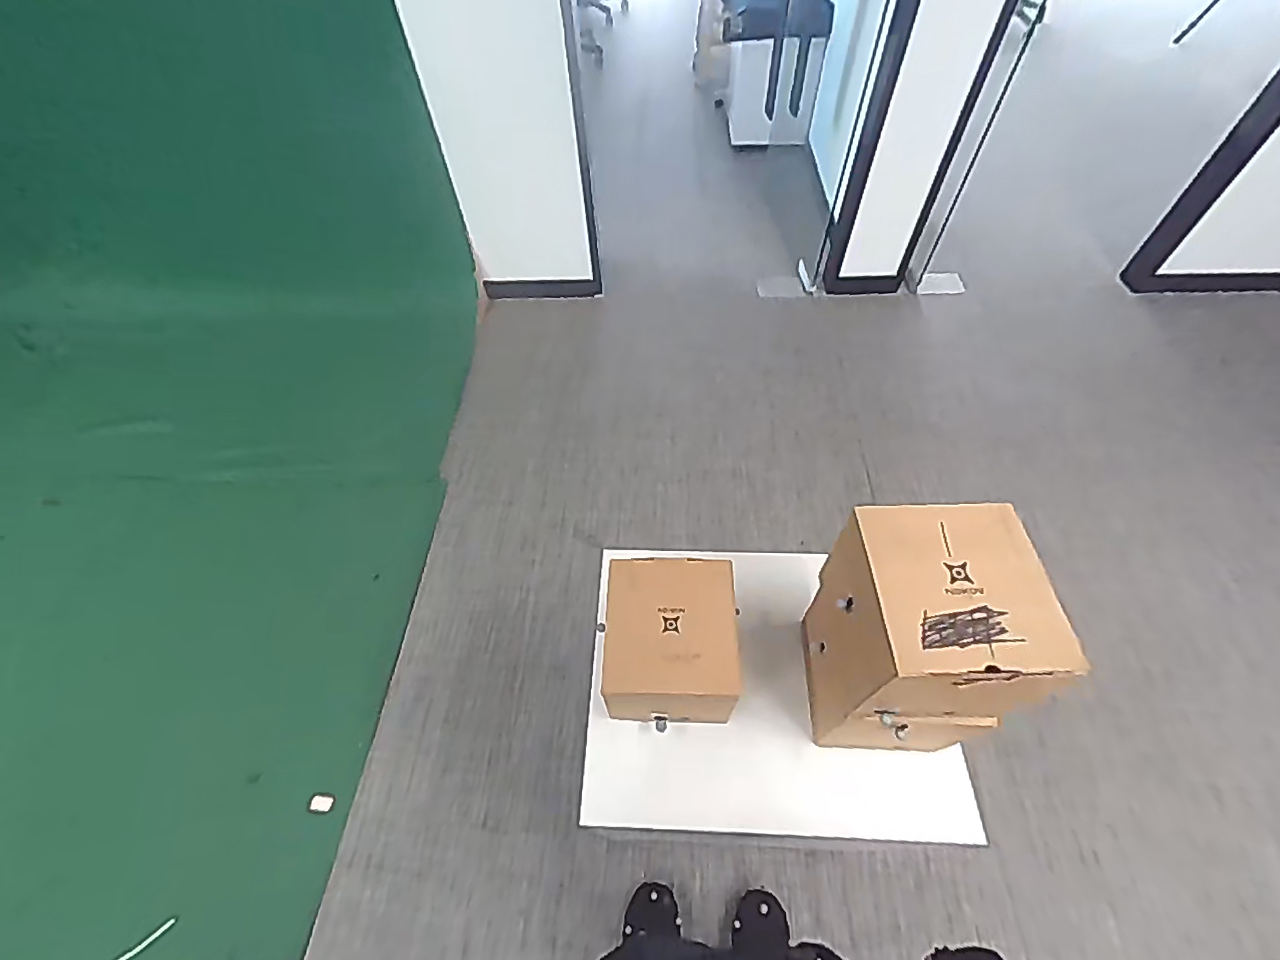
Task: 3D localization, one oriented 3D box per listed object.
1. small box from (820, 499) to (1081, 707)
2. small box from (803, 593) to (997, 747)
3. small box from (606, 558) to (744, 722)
[{"bbox_3d":[0.306,0.139,0.582,0.168,0.176,0.179,-2,54,3],"label":"small box"},{"bbox_3d":[0.320,0.239,0.713,0.168,0.176,0.179,0,55,5],"label":"small box"},{"bbox_3d":[0.045,0.222,0.743,0.168,0.176,0.179,-1,57,3],"label":"small box"}]
